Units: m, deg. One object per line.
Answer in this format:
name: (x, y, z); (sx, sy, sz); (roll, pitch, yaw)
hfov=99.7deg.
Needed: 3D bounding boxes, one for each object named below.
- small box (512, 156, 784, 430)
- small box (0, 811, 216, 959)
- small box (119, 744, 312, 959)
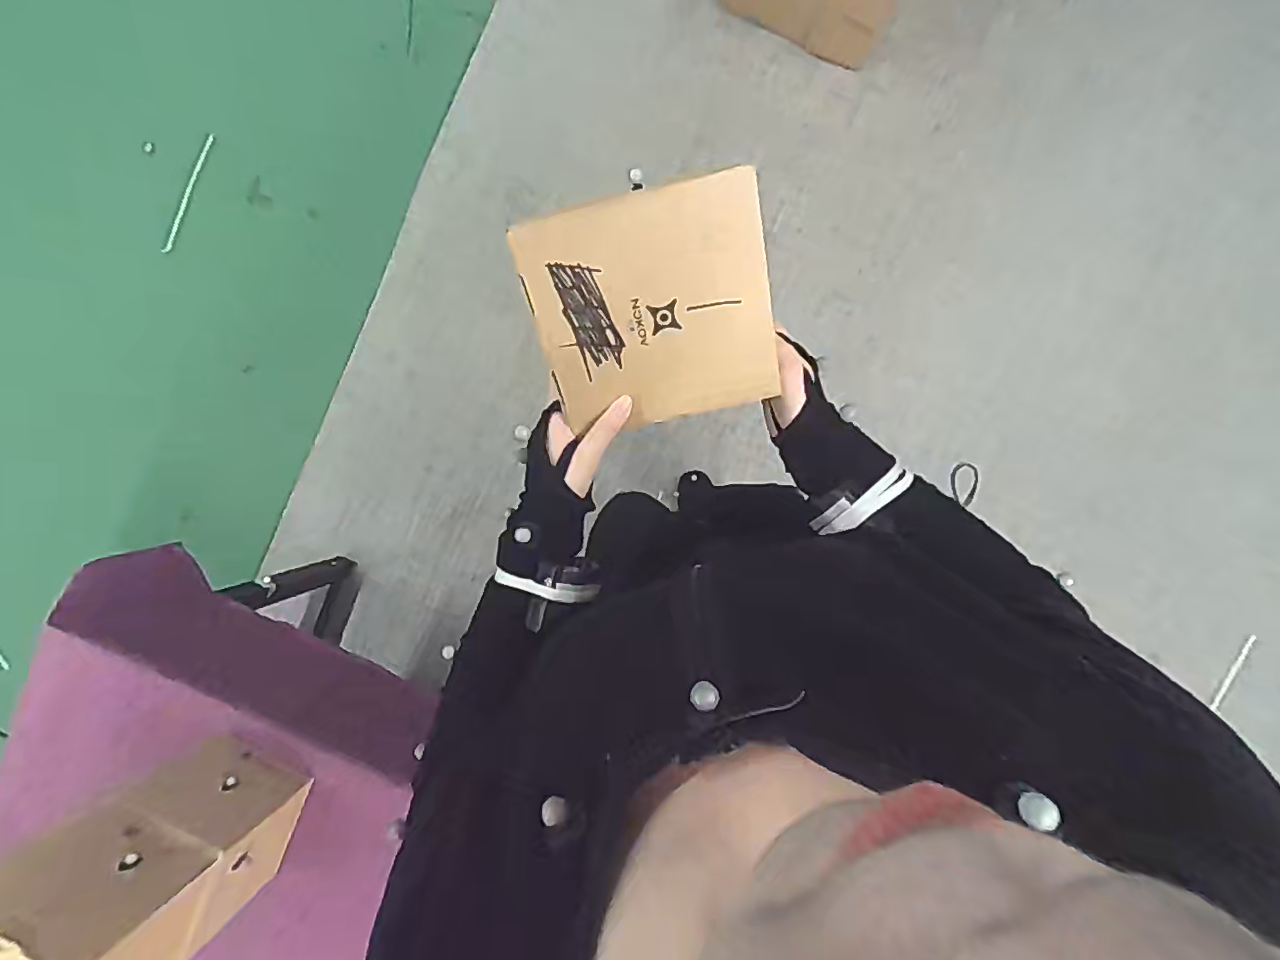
small box: (0.014, -0.164, 0.468); (0.179, 0.176, 0.168); (-12, 120, 7)
small box: (-0.632, 0.527, 0.605); (0.168, 0.176, 0.179); (23, 93, 4)
small box: (-0.609, 0.516, 0.766); (0.168, 0.176, 0.179); (23, 94, 4)
